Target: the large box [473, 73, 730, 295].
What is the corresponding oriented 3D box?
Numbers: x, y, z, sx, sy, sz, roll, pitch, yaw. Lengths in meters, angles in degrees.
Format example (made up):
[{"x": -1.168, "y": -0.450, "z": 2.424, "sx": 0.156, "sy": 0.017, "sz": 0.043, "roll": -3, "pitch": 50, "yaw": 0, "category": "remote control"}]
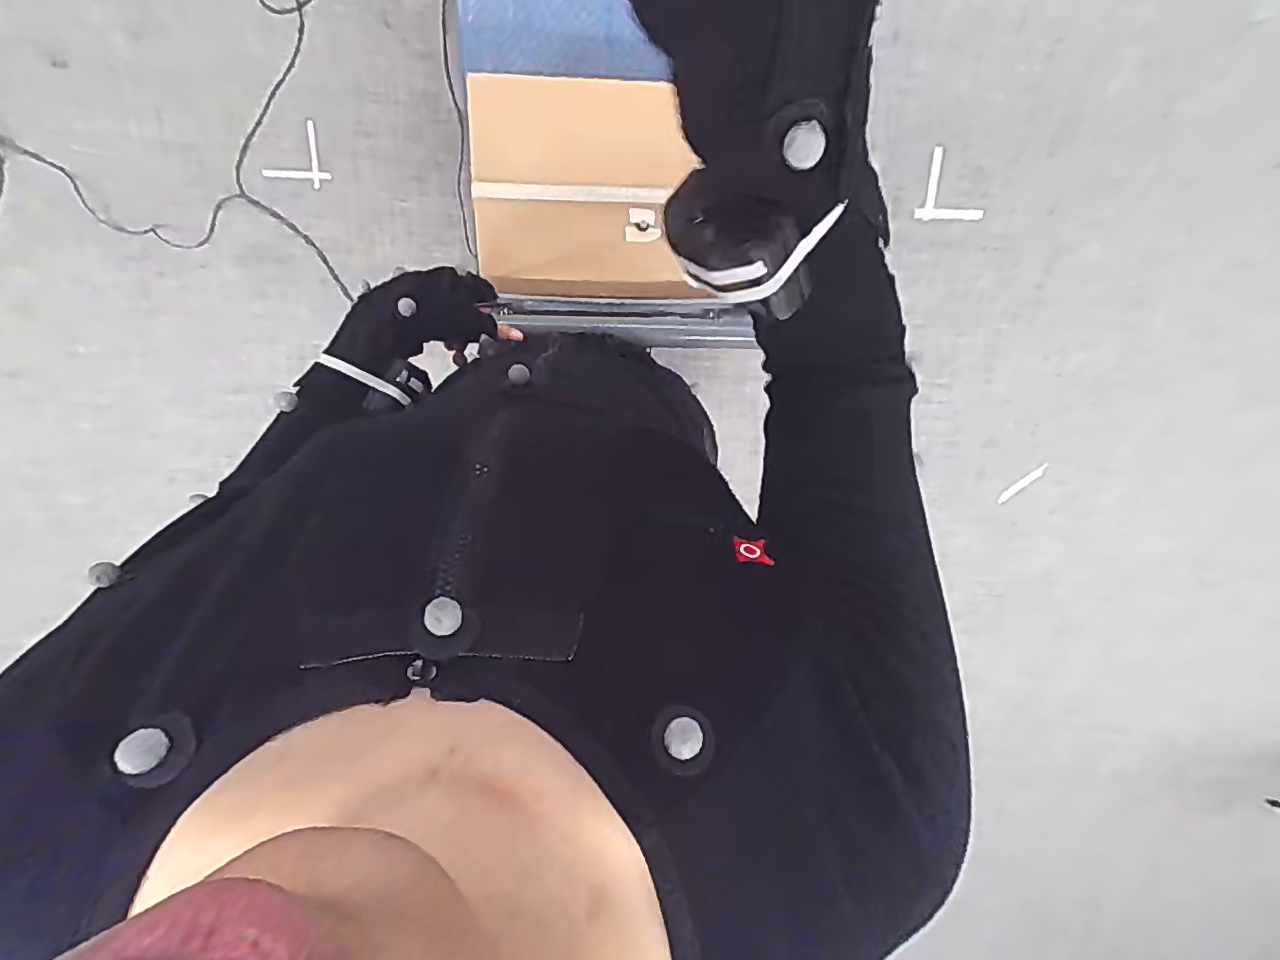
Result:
[{"x": -0.070, "y": -0.518, "z": 1.018, "sx": 0.408, "sy": 0.320, "sz": 0.320, "roll": 0, "pitch": 108, "yaw": -4, "category": "large box"}]
